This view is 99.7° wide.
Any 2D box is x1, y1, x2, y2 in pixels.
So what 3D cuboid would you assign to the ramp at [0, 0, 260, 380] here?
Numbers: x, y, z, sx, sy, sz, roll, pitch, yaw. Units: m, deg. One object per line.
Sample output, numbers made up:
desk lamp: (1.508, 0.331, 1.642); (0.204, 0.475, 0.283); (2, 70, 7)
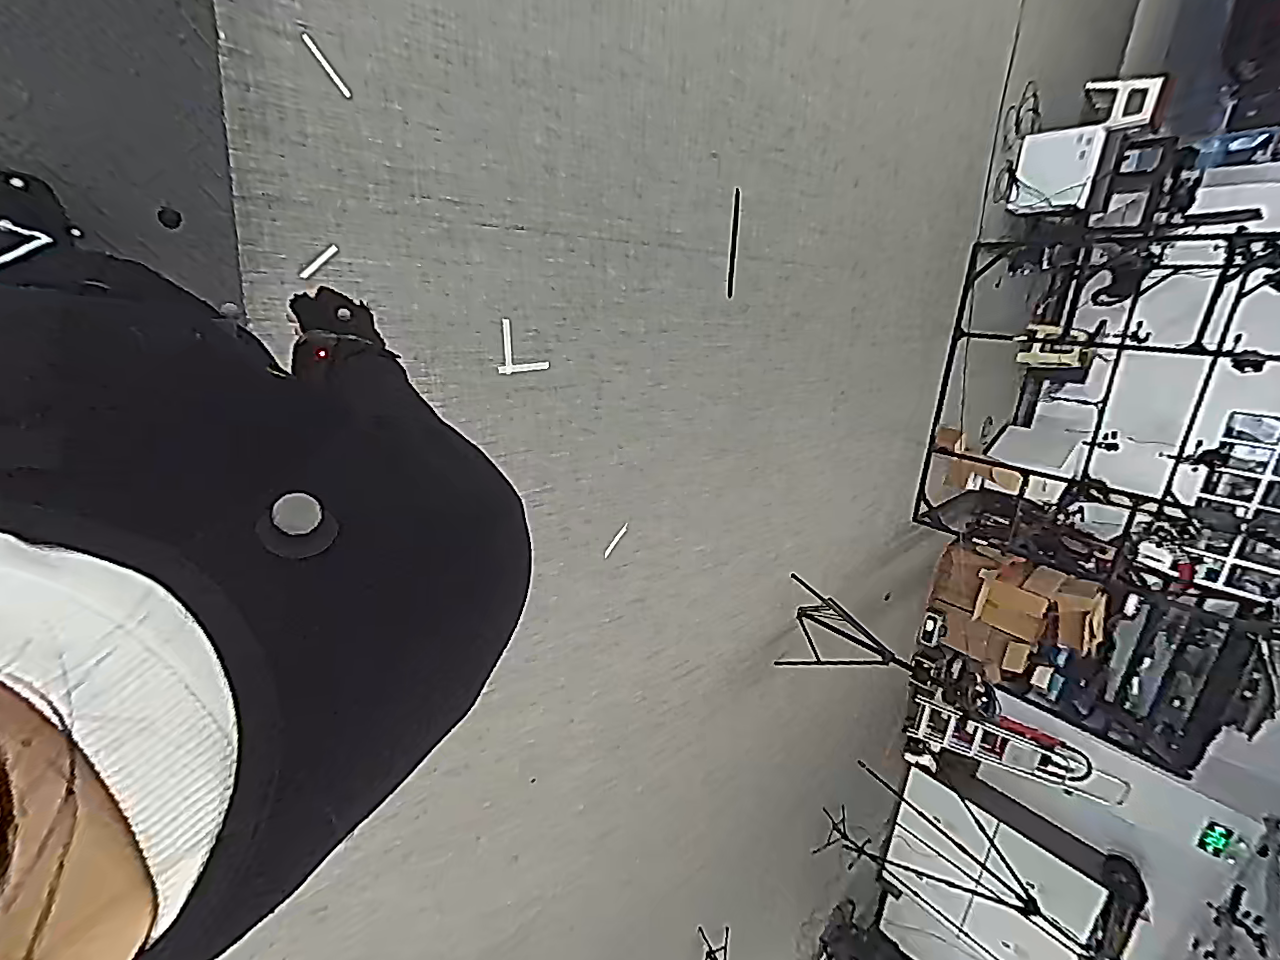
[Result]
ramp: (-0.957, -0.650, 0.861); (0.509, 0.206, 0.991); (-14, 115, -40)
